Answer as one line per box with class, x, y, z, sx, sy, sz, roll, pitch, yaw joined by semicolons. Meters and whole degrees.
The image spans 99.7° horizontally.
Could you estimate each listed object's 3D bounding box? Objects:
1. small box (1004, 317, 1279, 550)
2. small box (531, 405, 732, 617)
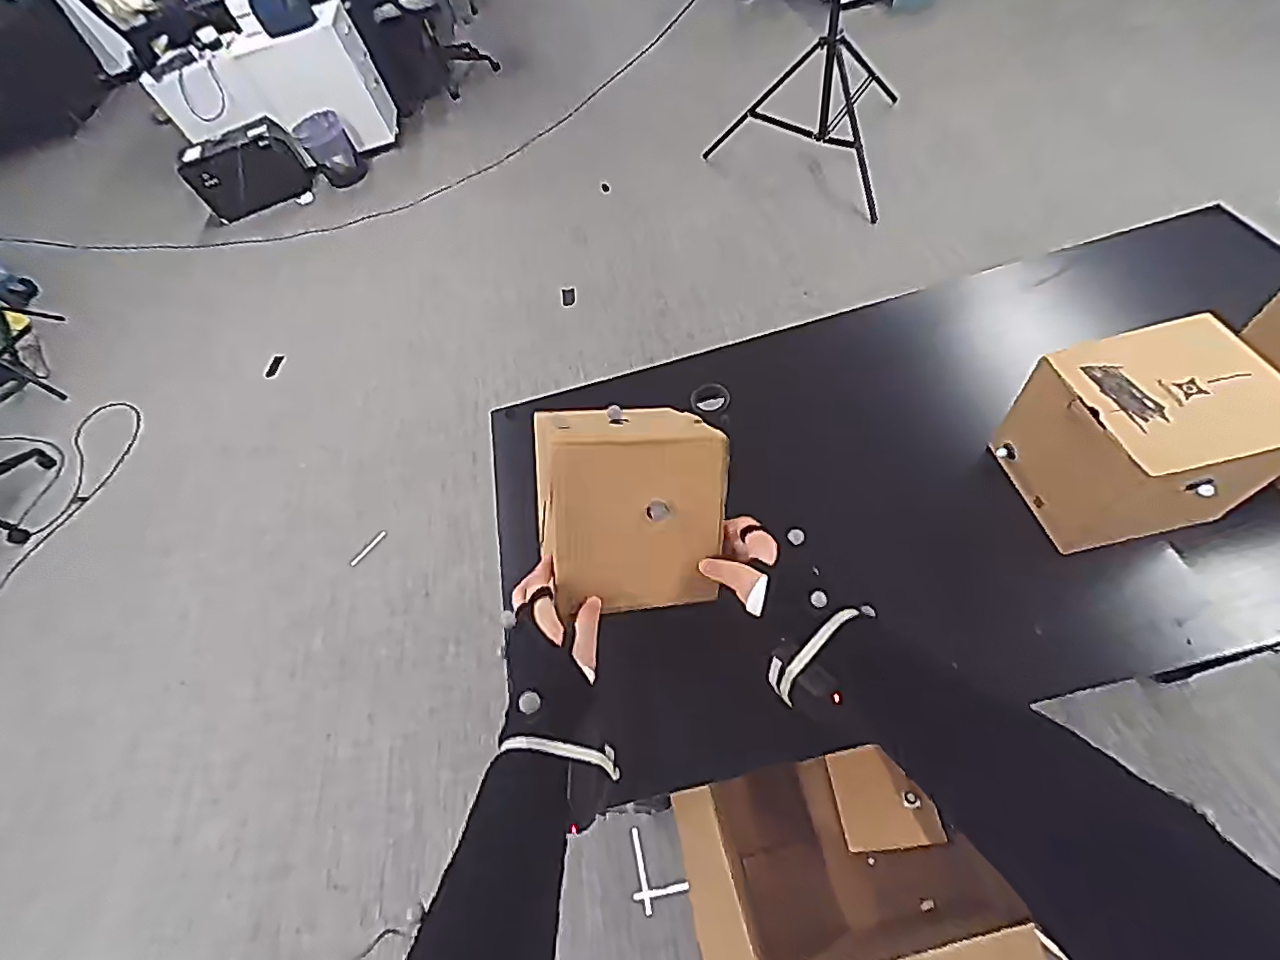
small box;0.537;-0.041;0.589;0.179;0.176;0.168;-14;56;3
small box;-0.021;0.023;0.575;0.176;0.179;0.168;-3;20;-17
